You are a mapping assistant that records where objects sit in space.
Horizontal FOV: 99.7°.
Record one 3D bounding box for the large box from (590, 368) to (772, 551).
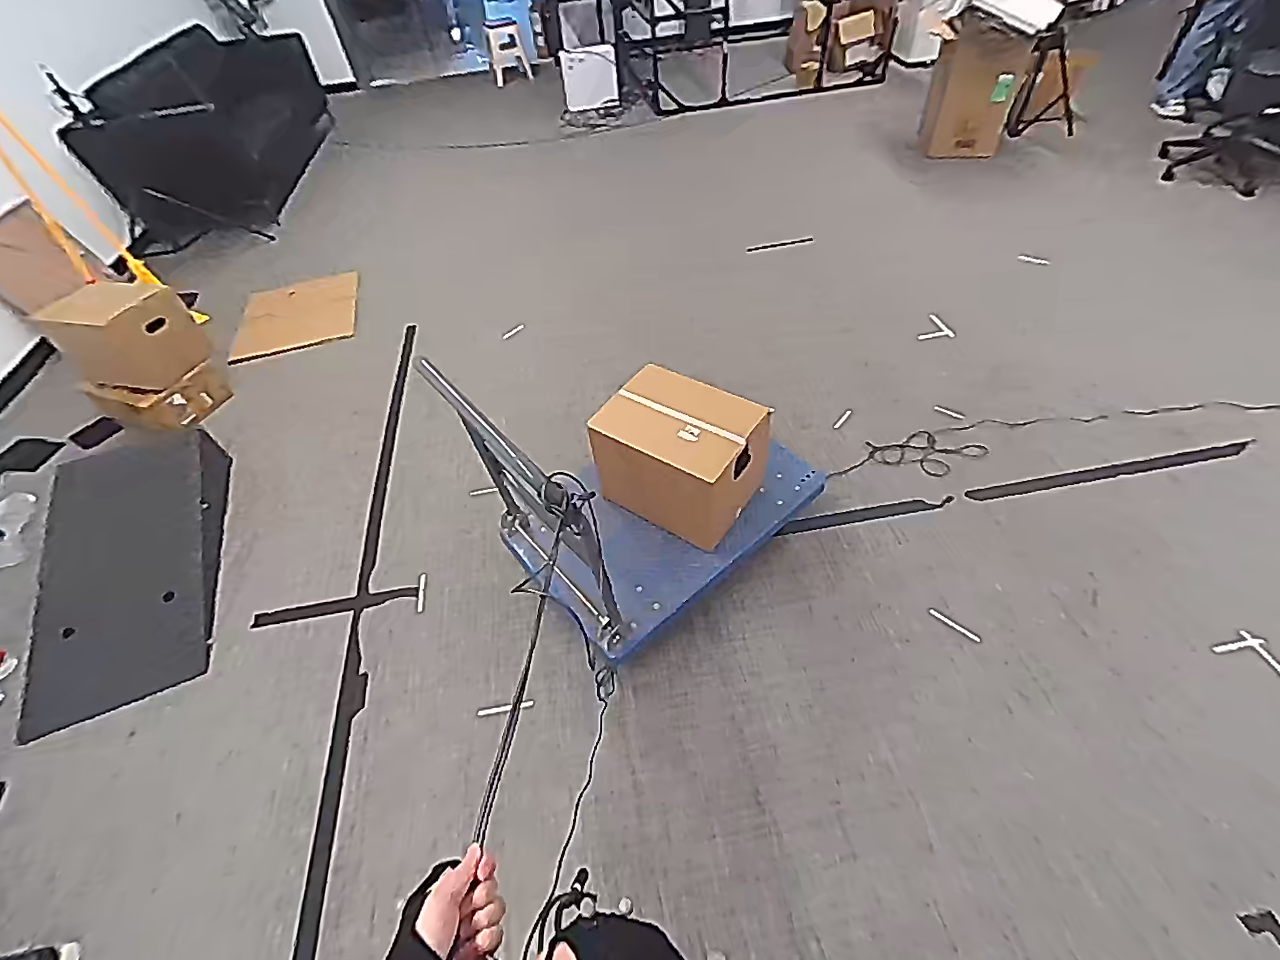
[{"bbox_3d":[0.117,-0.065,1.570,0.408,0.320,0.320,26,57,25],"label":"large box"}]
